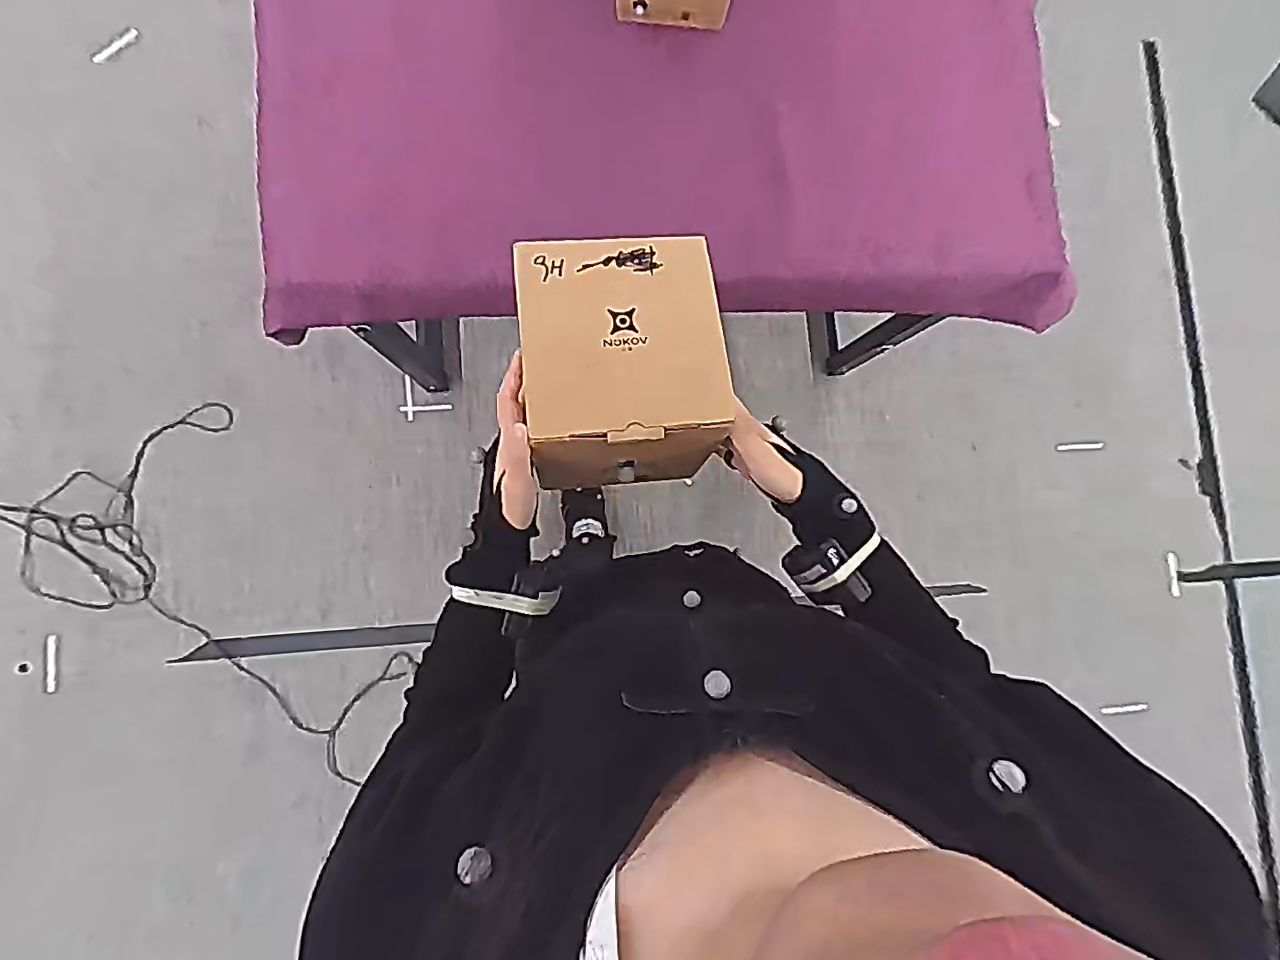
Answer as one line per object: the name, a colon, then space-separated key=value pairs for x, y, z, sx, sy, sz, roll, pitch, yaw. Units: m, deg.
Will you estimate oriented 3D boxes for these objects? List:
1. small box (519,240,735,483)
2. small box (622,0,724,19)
small box: x=-0.019 y=-0.099 z=0.519 sx=0.168 sy=0.176 sz=0.179 roll=-5 pitch=76 yaw=-7
small box: x=0.051 y=-0.799 z=0.756 sx=0.168 sy=0.176 sz=0.179 roll=0 pitch=87 yaw=-5
